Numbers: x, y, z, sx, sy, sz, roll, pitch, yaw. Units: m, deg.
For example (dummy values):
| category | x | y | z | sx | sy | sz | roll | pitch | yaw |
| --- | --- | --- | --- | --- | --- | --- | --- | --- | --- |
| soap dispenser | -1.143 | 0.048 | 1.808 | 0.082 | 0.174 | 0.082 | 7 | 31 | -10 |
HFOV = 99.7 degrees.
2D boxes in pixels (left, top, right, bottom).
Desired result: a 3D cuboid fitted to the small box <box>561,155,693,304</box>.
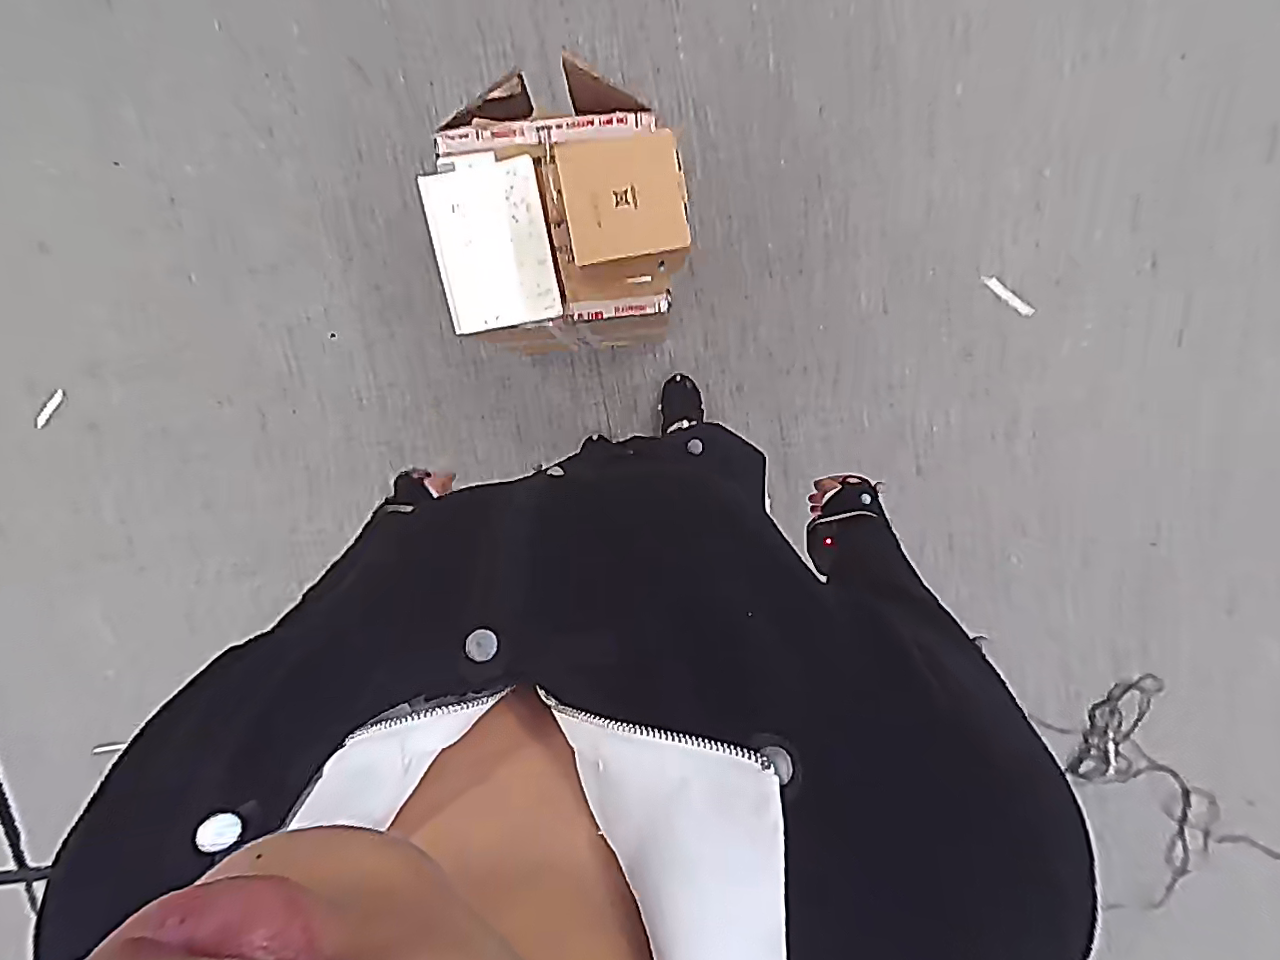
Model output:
| category | x | y | z | sx | sy | sz | roll | pitch | yaw |
| --- | --- | --- | --- | --- | --- | --- | --- | --- | --- |
| small box | -0.020 | -0.395 | 0.882 | 0.179 | 0.176 | 0.168 | -10 | 98 | 1 |
